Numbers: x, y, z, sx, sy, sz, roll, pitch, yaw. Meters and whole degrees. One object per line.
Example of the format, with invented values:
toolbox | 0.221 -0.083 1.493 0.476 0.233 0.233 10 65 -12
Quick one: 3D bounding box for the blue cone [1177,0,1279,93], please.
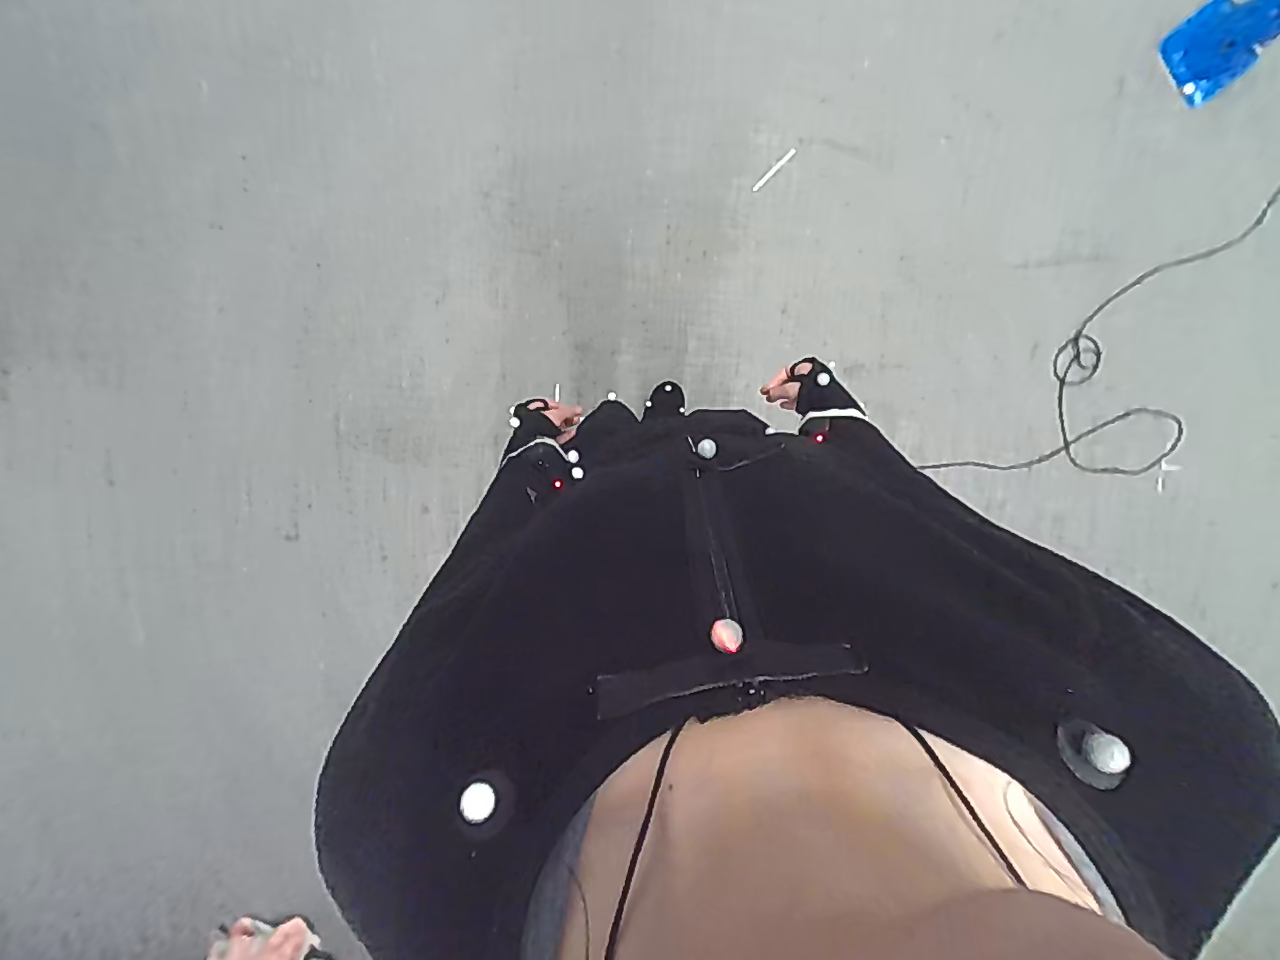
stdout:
blue cone | 1.435 -1.050 1.166 0.192 0.380 0.193 -41 97 7
